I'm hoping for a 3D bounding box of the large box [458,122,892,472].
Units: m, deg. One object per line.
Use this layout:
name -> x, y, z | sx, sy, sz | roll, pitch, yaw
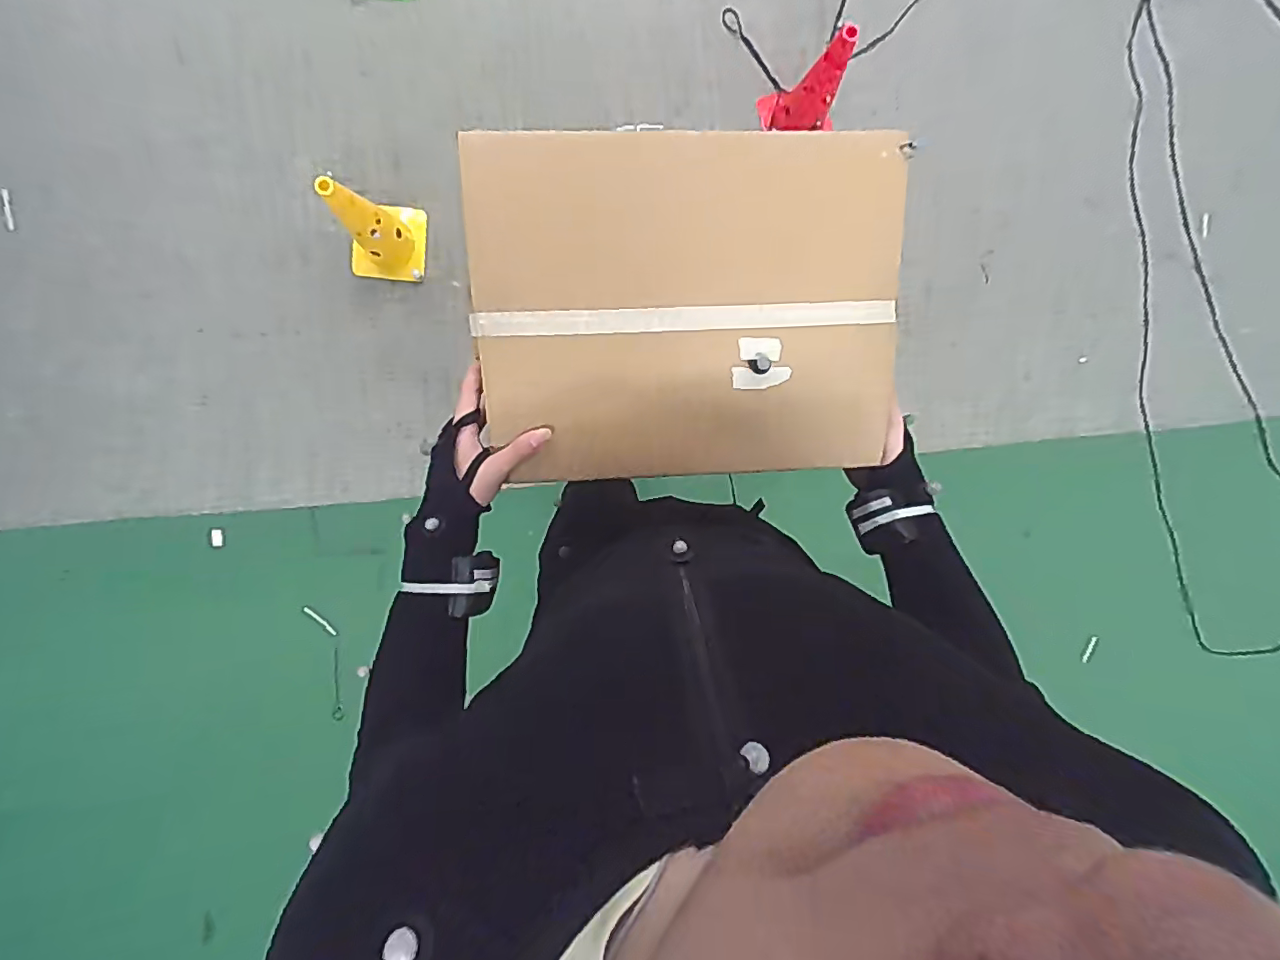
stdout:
large box -> 0.029, -0.207, 0.666 | 0.408, 0.320, 0.320 | -3, 106, -5
